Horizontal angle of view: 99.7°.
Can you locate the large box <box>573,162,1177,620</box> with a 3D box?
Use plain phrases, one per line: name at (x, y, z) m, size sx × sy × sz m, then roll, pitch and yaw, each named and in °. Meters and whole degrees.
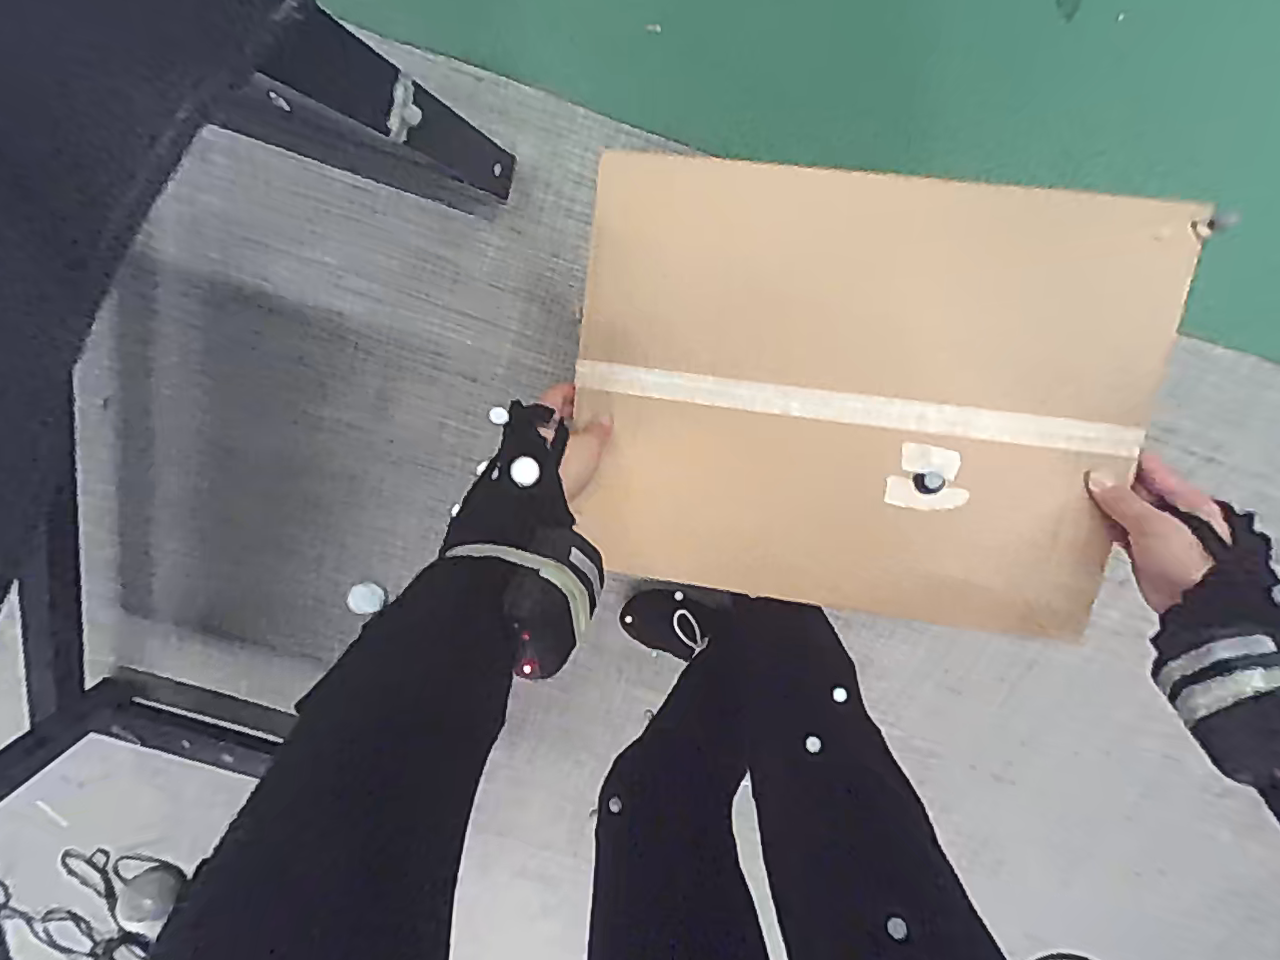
large box at (0.167, -0.086, 0.553) m, size 0.408 × 0.320 × 0.320 m, roll 7°, pitch 101°, yaw 4°
